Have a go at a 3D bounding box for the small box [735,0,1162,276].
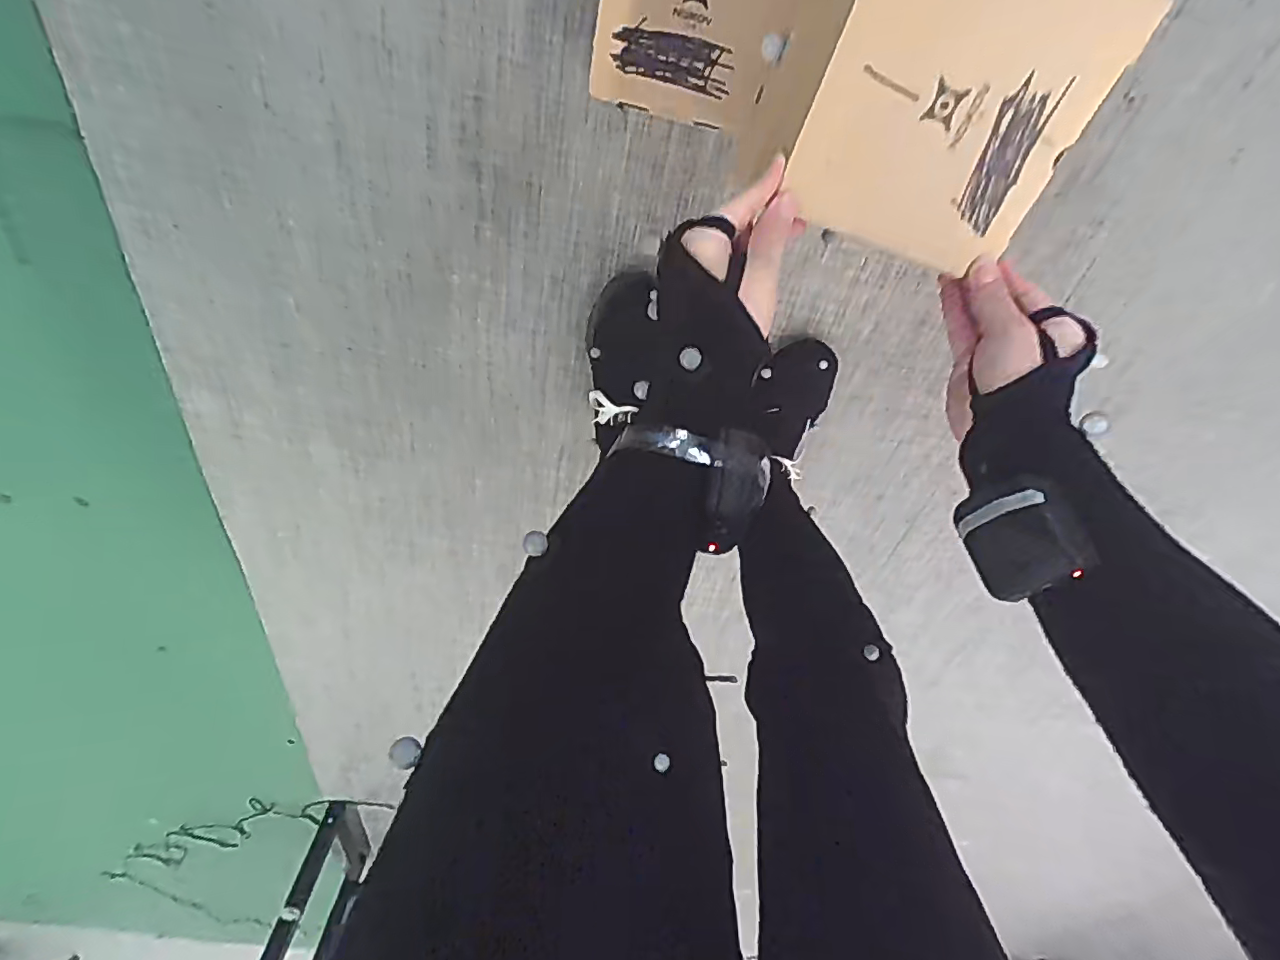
[{"bbox_3d":[0.190,-0.278,0.397,0.179,0.176,0.168,14,124,-12],"label":"small box"}]
